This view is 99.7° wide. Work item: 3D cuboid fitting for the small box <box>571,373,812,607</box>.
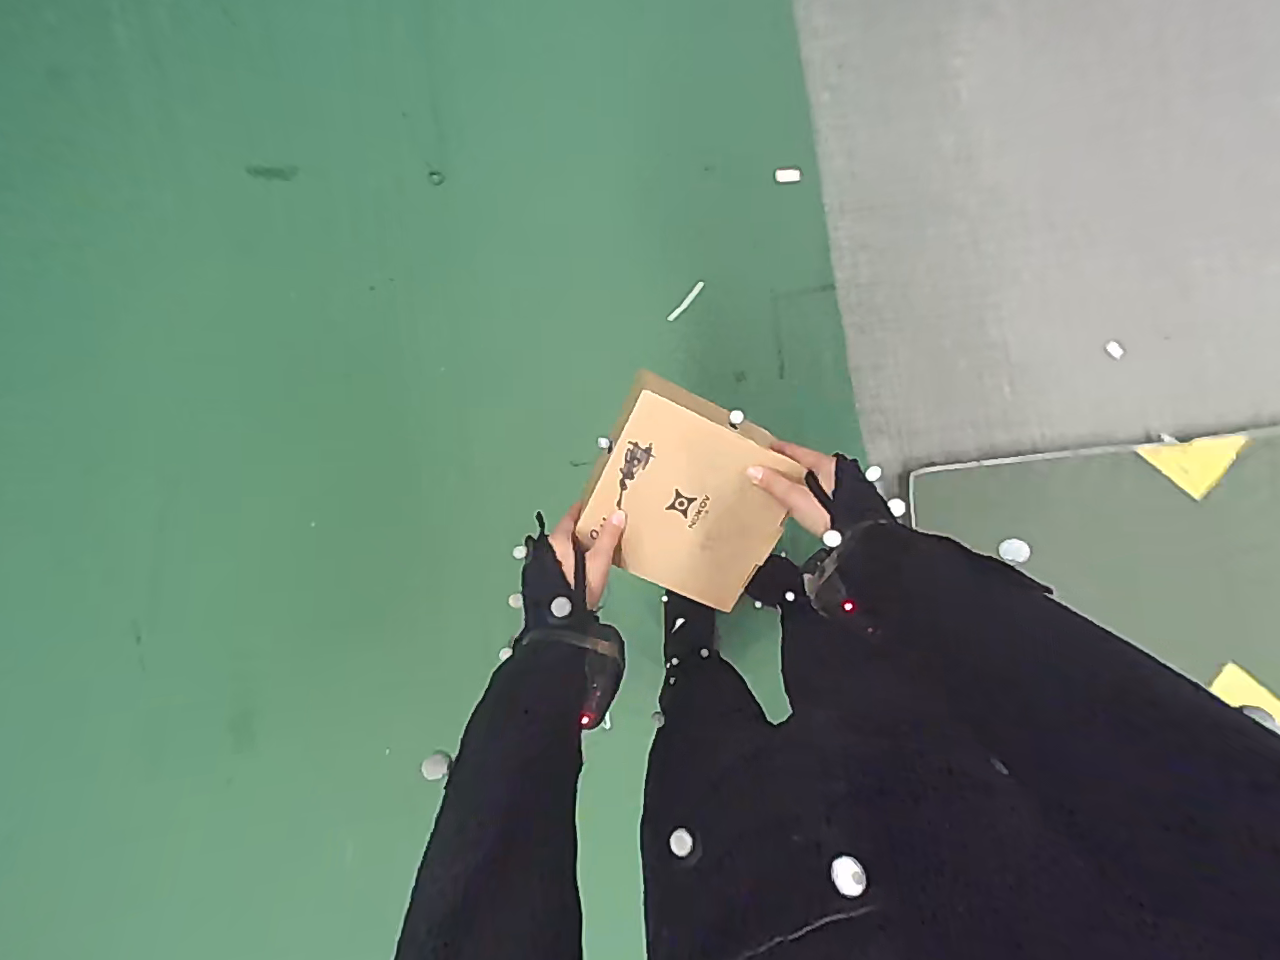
[{"bbox_3d":[0.045,-0.002,0.579,0.179,0.176,0.168,26,105,-9],"label":"small box"}]
